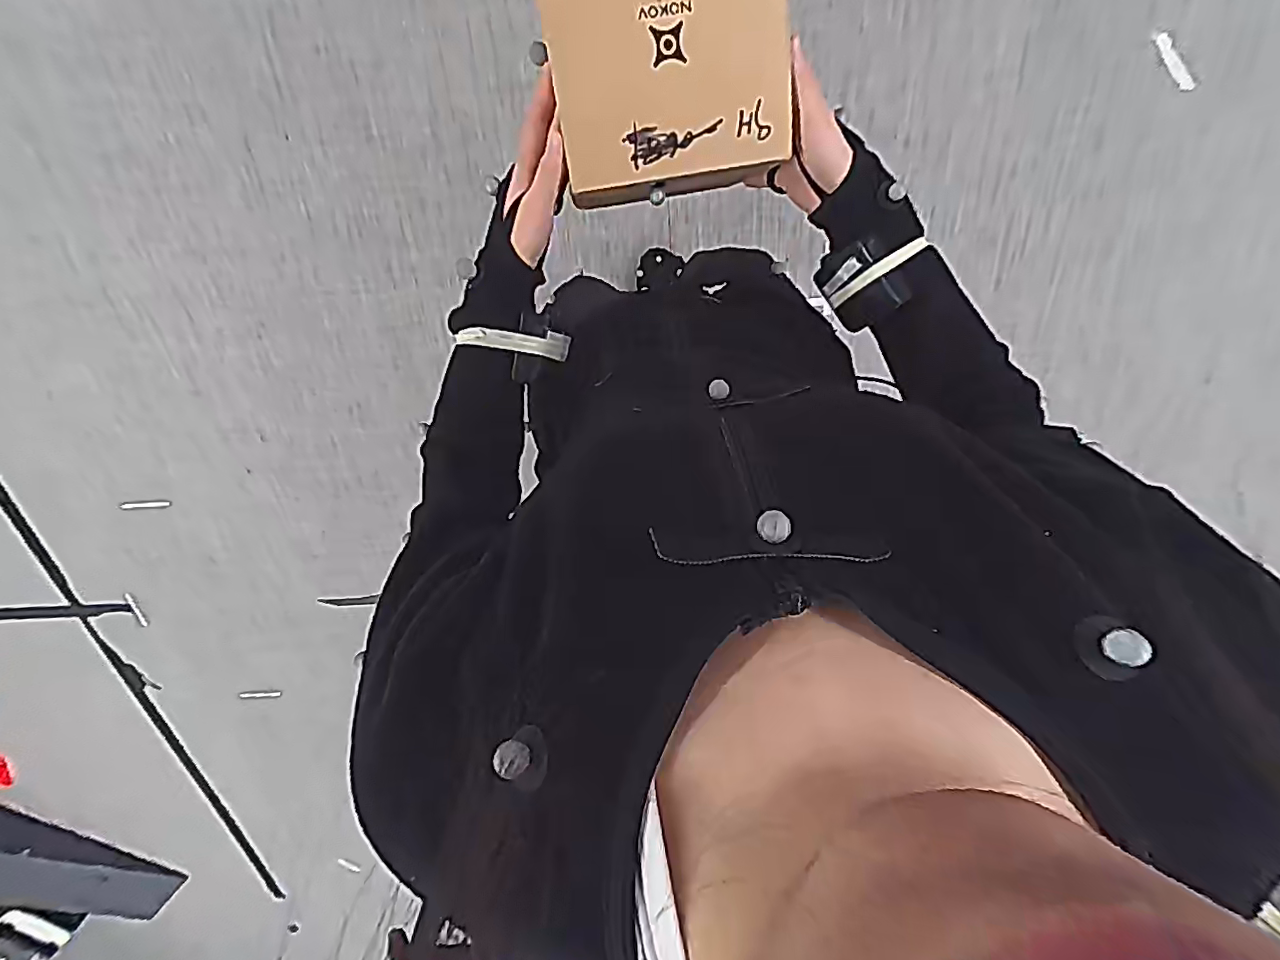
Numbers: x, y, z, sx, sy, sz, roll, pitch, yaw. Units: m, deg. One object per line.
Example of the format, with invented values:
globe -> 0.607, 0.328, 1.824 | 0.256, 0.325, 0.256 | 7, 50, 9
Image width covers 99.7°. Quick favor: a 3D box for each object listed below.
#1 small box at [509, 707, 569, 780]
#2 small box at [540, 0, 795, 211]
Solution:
small box -> -0.368, 0.964, 1.987 | 0.179, 0.176, 0.168 | 11, 116, -6
small box -> 0.013, -0.328, 0.432 | 0.168, 0.176, 0.179 | -10, 113, -2
